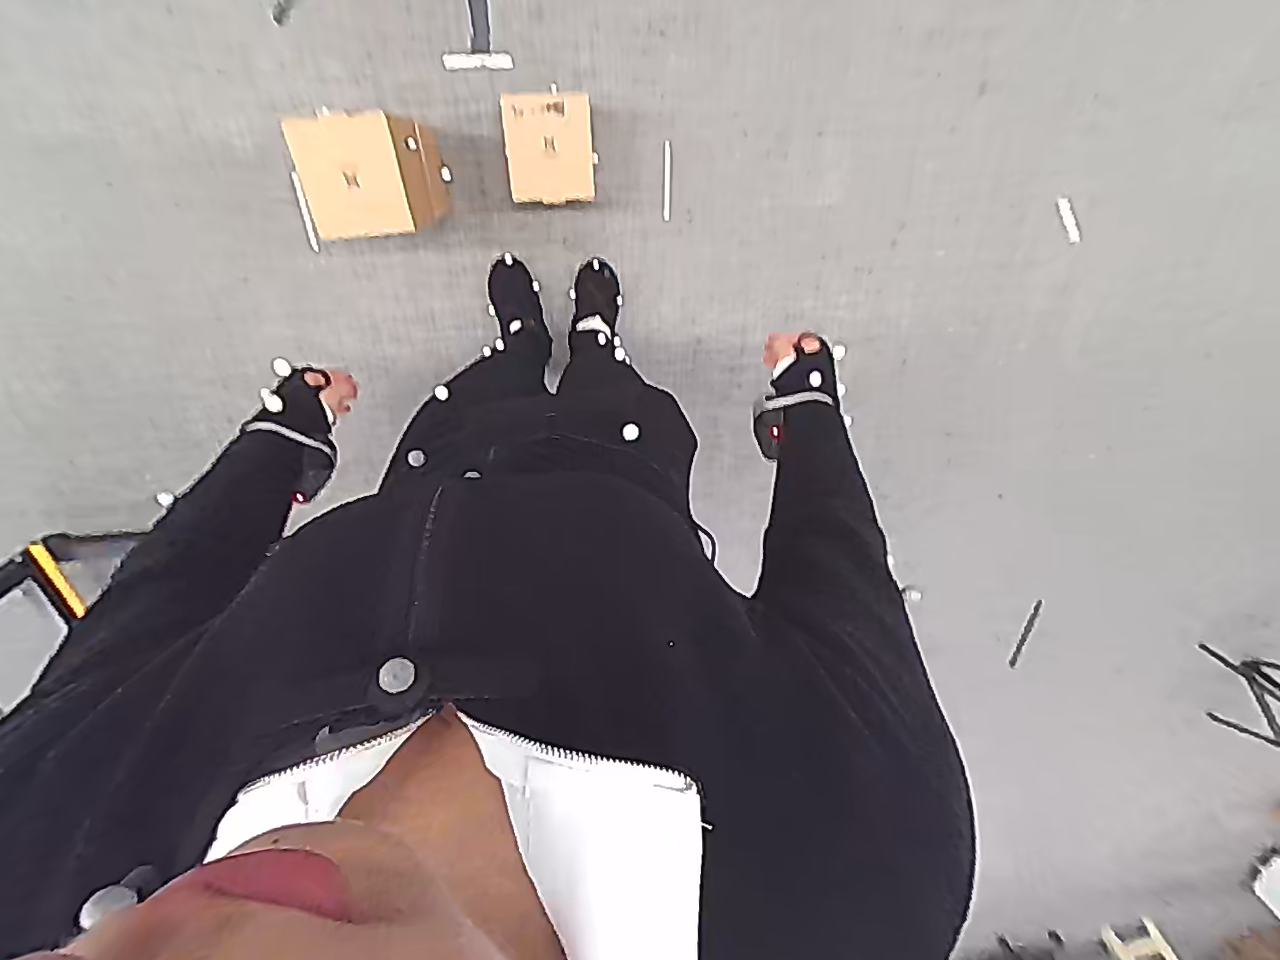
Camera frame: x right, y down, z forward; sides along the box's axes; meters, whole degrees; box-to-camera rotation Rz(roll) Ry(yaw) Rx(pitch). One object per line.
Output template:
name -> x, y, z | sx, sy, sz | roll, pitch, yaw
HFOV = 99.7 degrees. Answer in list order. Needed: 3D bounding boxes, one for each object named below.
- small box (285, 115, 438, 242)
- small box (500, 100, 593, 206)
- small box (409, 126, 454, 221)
small box -> -0.481, -0.535, 0.966 | 0.168, 0.176, 0.179 | -6, 121, -1
small box -> -0.183, -0.669, 1.111 | 0.168, 0.176, 0.179 | -3, 120, -4
small box -> -0.500, -0.617, 1.104 | 0.179, 0.176, 0.168 | -5, 120, -4
